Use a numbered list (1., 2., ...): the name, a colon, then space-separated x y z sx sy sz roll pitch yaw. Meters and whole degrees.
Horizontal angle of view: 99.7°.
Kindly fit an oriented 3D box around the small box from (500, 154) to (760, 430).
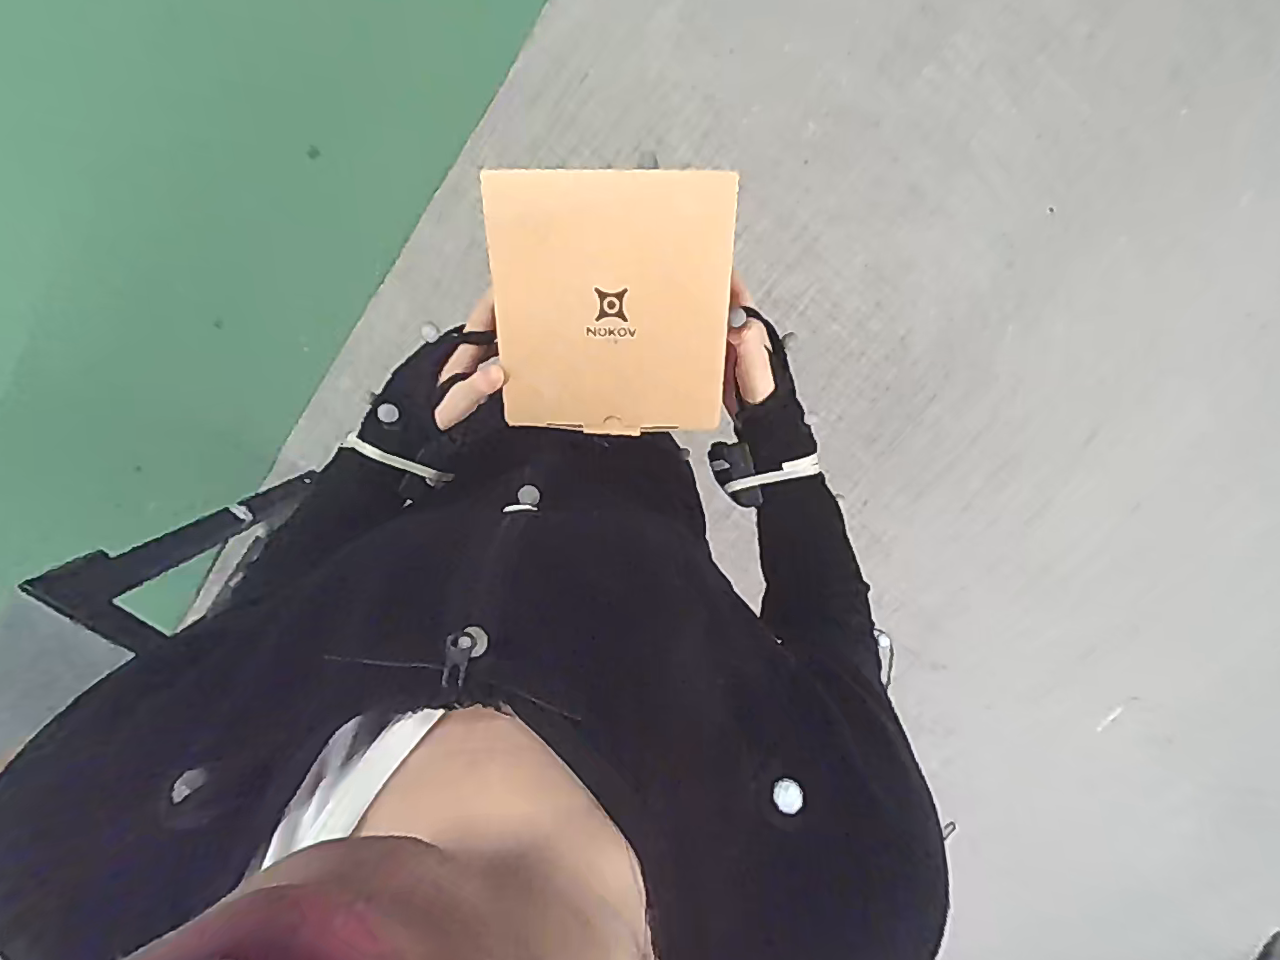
1. small box: -0.009 -0.154 0.441 0.168 0.176 0.179 2 117 0
